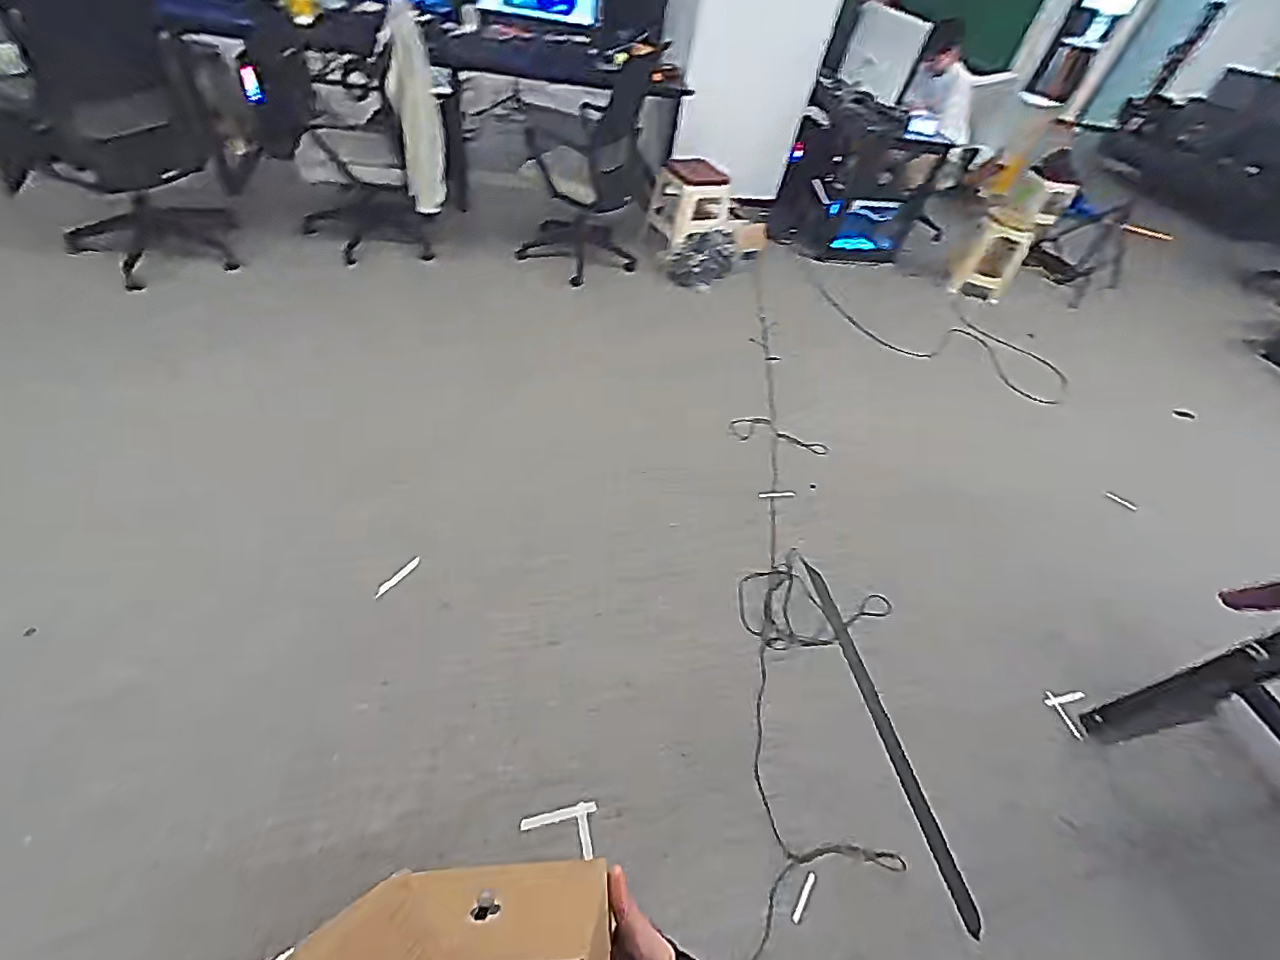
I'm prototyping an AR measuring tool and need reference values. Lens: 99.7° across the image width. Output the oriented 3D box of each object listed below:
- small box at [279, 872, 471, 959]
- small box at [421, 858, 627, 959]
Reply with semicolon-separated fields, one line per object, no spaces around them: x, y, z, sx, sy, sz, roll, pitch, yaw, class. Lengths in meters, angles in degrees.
-0.149;0.316;0.217;0.168;0.176;0.179;-34;75;-10;small box
-0.099;0.382;0.368;0.179;0.176;0.168;-3;72;-1;small box
